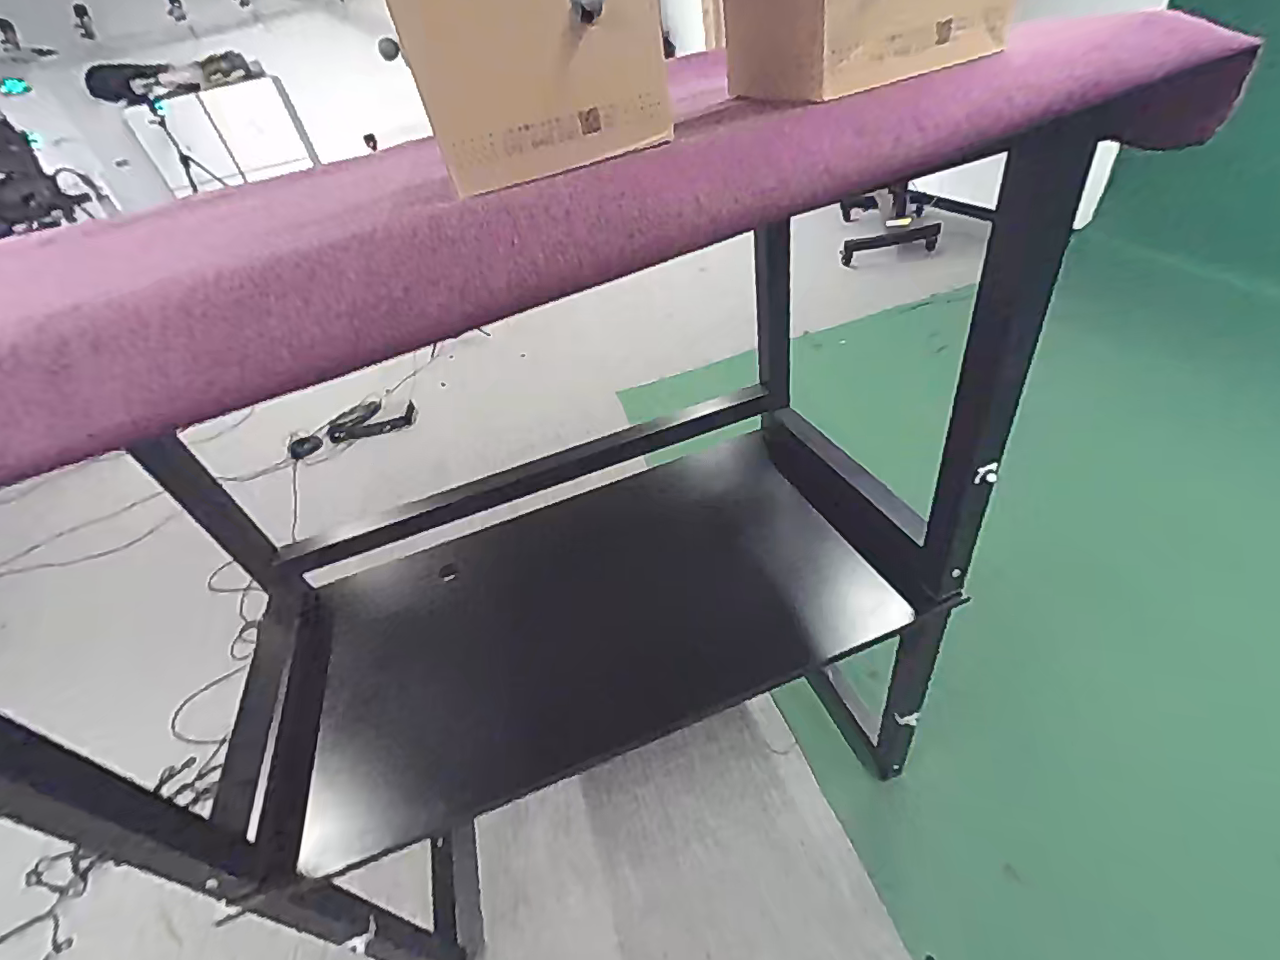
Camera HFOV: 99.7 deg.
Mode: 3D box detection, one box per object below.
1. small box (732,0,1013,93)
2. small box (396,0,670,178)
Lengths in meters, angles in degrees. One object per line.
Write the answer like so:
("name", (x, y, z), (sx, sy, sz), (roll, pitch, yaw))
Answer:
("small box", (0.181, -0.428, 0.433), (0.168, 0.176, 0.179), (-19, 39, -6))
("small box", (-0.086, -0.341, 0.405), (0.168, 0.176, 0.179), (-18, 38, -7))
